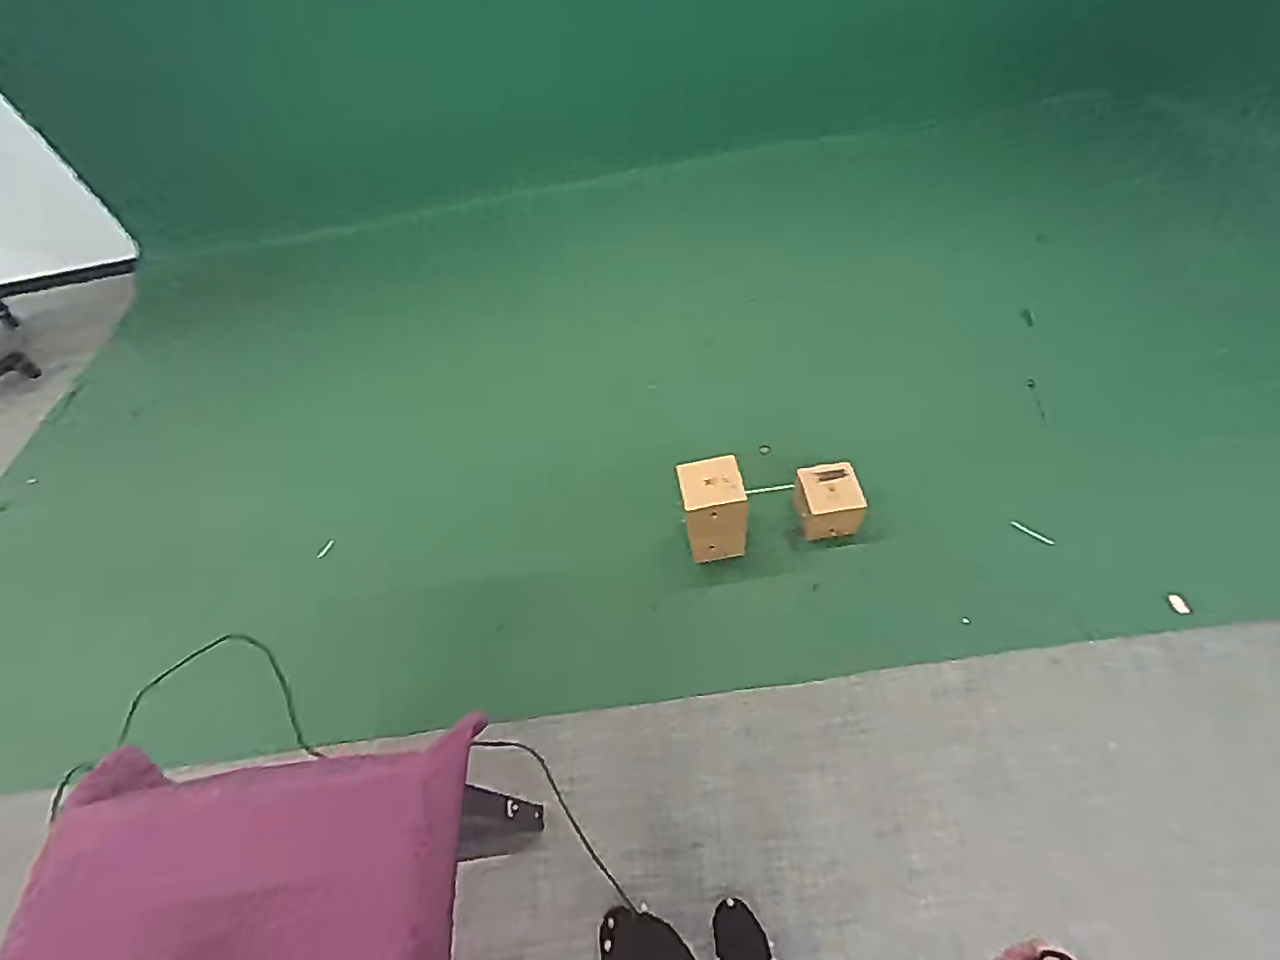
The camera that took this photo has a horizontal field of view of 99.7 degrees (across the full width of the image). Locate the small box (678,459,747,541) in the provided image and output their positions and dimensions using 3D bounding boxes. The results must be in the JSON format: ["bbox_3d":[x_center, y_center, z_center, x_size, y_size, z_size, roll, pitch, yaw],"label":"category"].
[{"bbox_3d":[0.217,0.065,1.608,0.179,0.176,0.168,-11,53,2],"label":"small box"}]

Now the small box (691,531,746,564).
[{"bbox_3d":[0.243,0.157,1.742,0.168,0.176,0.179,-11,52,3],"label":"small box"}]
